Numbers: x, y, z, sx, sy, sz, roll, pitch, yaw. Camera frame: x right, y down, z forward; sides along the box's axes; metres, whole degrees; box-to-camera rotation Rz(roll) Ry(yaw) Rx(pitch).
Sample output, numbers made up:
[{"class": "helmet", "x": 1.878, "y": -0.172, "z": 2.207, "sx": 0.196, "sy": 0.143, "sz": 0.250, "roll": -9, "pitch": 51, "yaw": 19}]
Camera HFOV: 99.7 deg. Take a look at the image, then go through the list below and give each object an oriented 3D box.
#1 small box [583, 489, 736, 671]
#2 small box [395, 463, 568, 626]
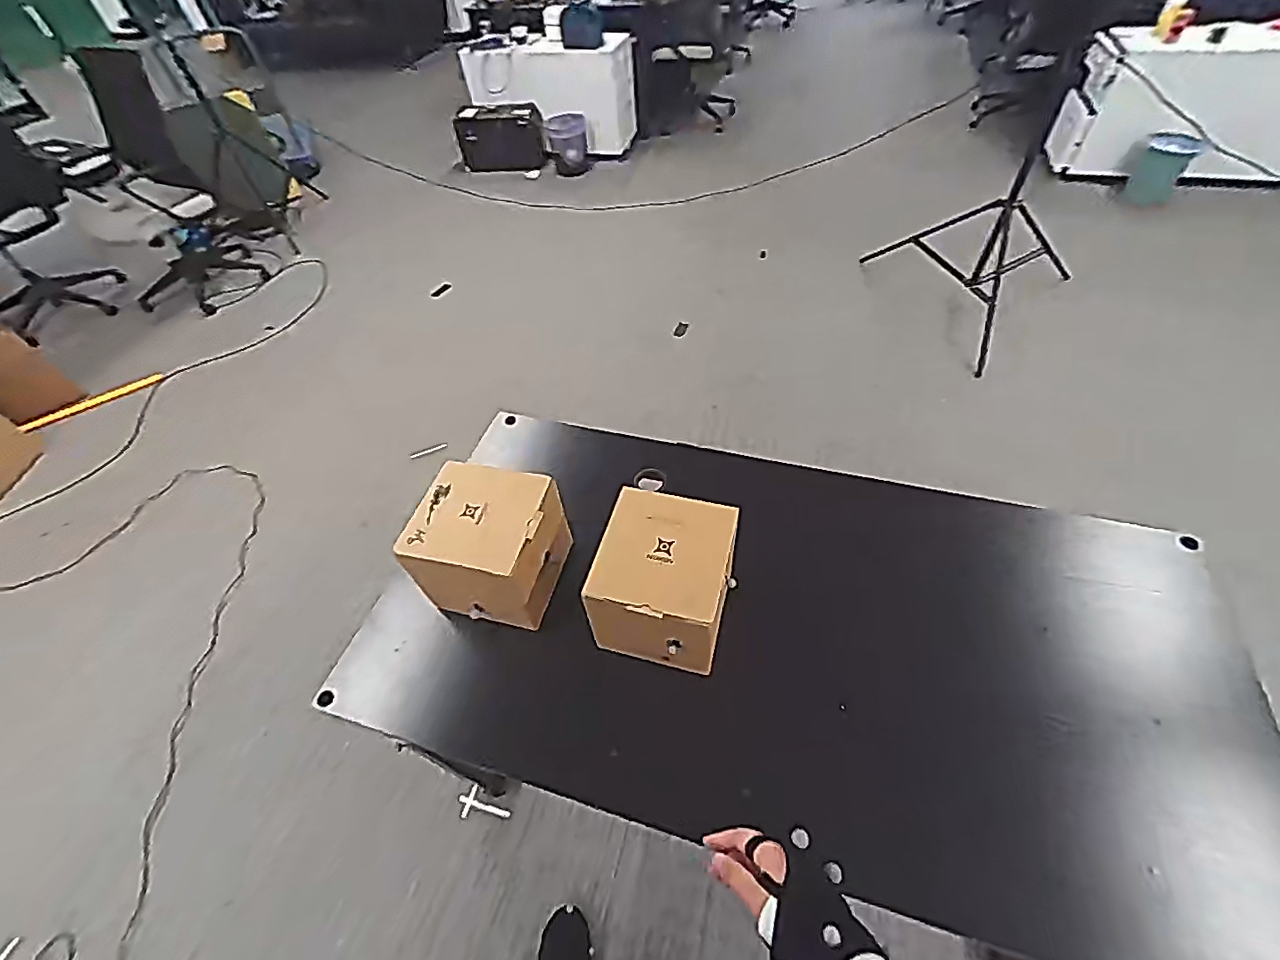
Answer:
[{"class": "small box", "x": 0.034, "y": 0.143, "z": 0.757, "sx": 0.168, "sy": 0.176, "sz": 0.179, "roll": 11, "pitch": 52, "yaw": 12}, {"class": "small box", "x": -0.219, "y": 0.101, "z": 0.809, "sx": 0.179, "sy": 0.176, "sz": 0.168, "roll": 10, "pitch": 52, "yaw": 11}]
